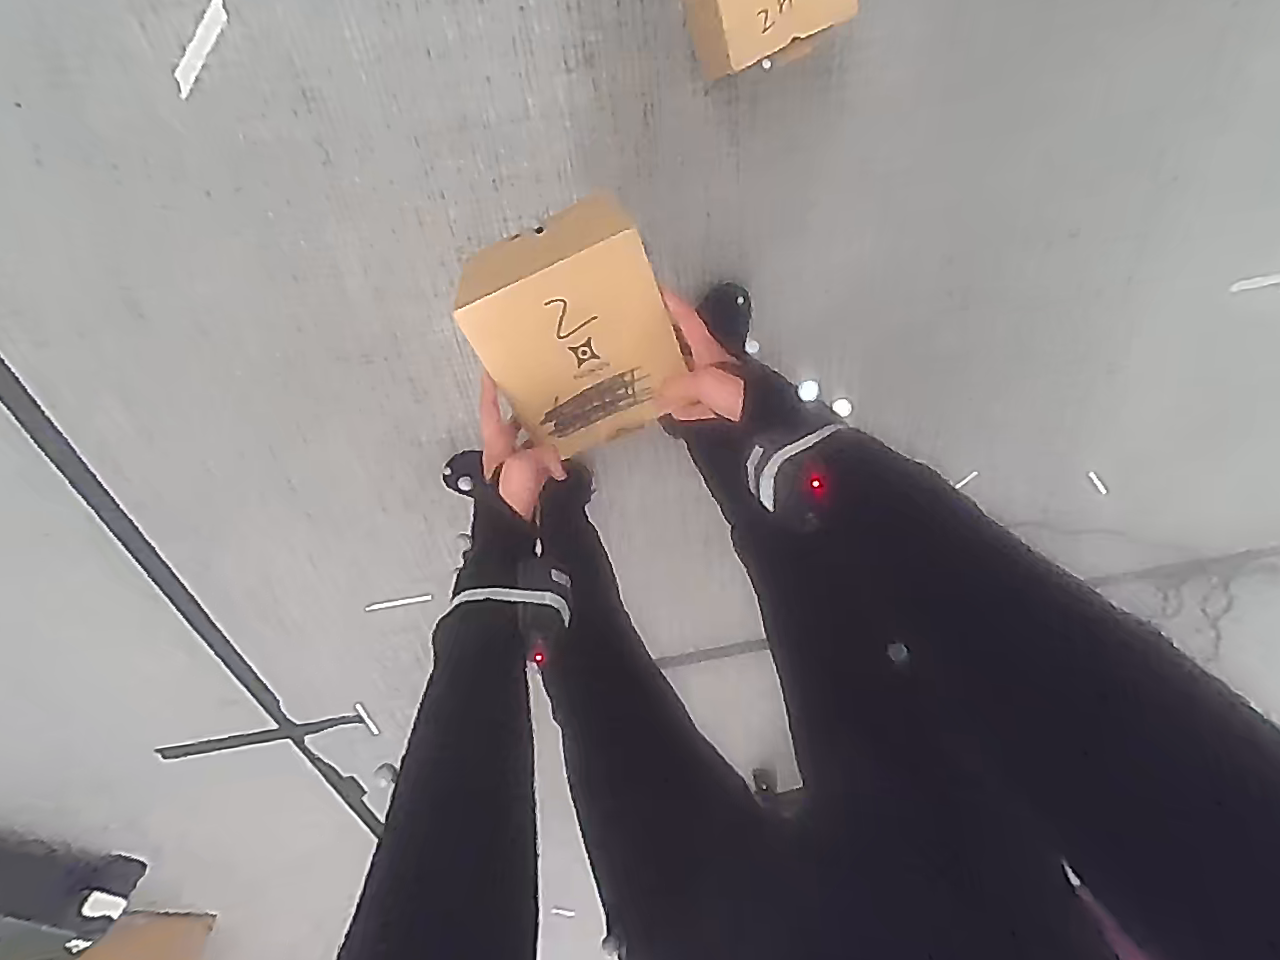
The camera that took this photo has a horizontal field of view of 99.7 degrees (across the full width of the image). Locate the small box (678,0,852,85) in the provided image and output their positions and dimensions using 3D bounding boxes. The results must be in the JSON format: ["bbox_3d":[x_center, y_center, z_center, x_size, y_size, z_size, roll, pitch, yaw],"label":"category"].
[{"bbox_3d":[0.144,-0.642,0.691,0.168,0.176,0.179,-22,123,5],"label":"small box"}]
